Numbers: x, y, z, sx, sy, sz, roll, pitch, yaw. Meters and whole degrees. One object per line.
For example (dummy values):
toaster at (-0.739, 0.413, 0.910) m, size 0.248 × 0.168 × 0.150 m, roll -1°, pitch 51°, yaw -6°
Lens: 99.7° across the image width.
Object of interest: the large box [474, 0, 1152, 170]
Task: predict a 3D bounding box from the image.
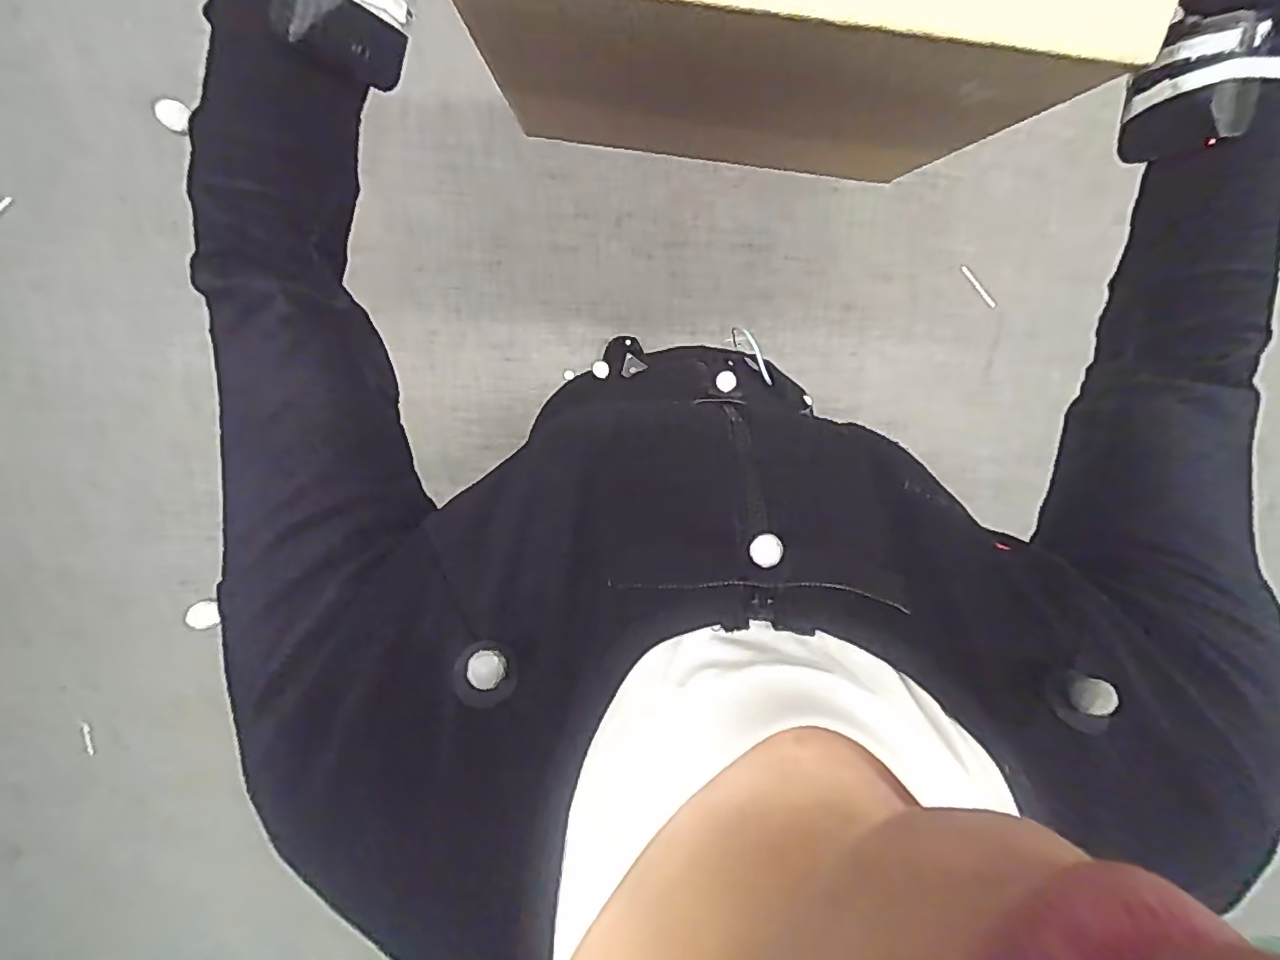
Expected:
large box at (0.096, -0.453, 0.399) m, size 0.408 × 0.320 × 0.320 m, roll 4°, pitch 108°, yaw -5°
